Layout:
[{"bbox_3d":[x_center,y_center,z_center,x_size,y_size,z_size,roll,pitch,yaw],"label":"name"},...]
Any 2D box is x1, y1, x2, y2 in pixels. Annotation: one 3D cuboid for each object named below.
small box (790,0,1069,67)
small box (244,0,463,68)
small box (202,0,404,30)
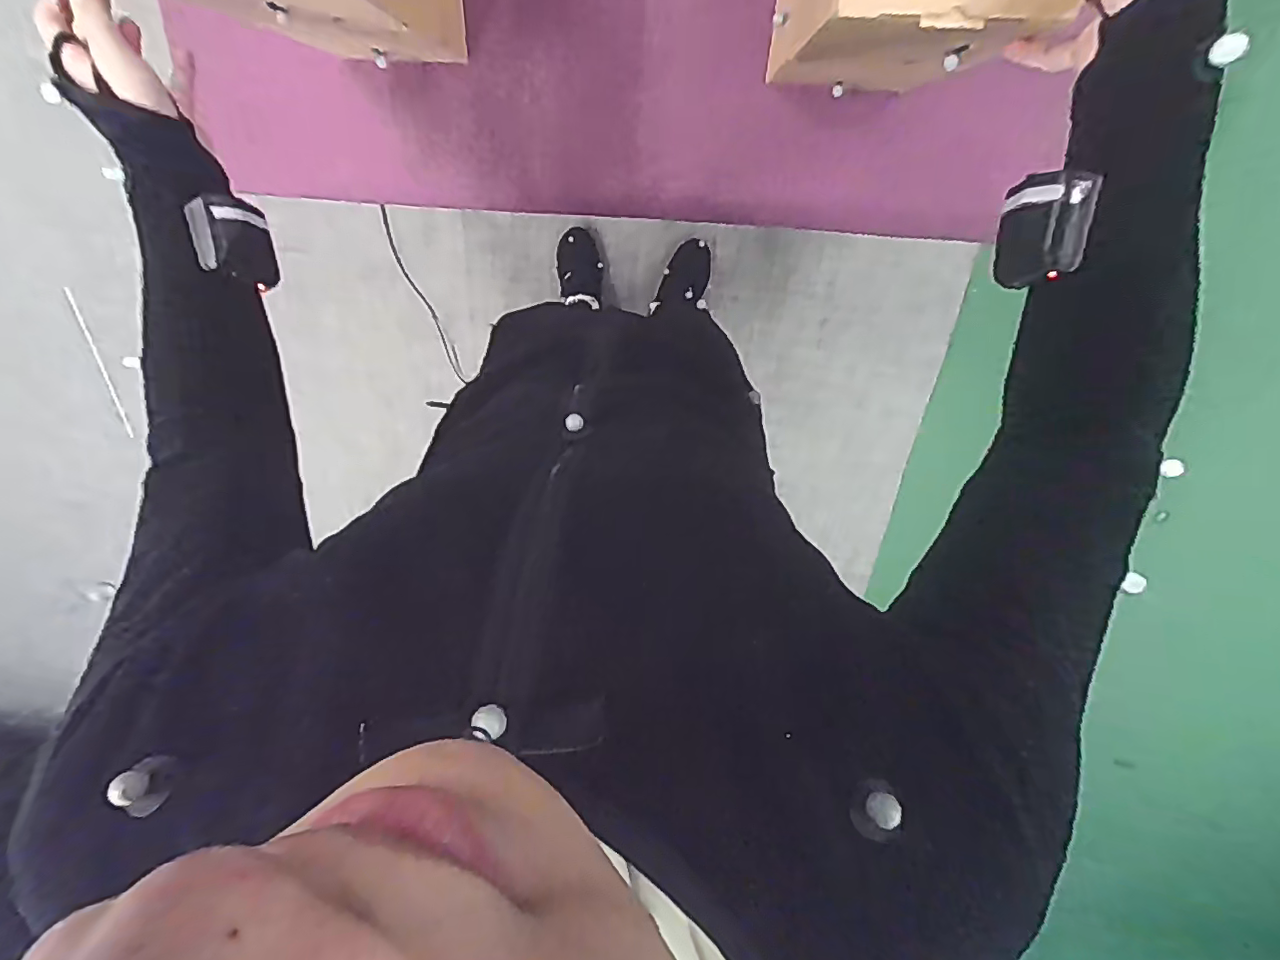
[{"bbox_3d":[0.216,-0.429,0.400,0.168,0.176,0.179,4,118,2],"label":"small box"},{"bbox_3d":[-0.297,-0.554,0.558,0.168,0.176,0.179,4,118,2],"label":"small box"},{"bbox_3d":[-0.307,-0.479,0.414,0.168,0.176,0.179,3,119,2],"label":"small box"}]
